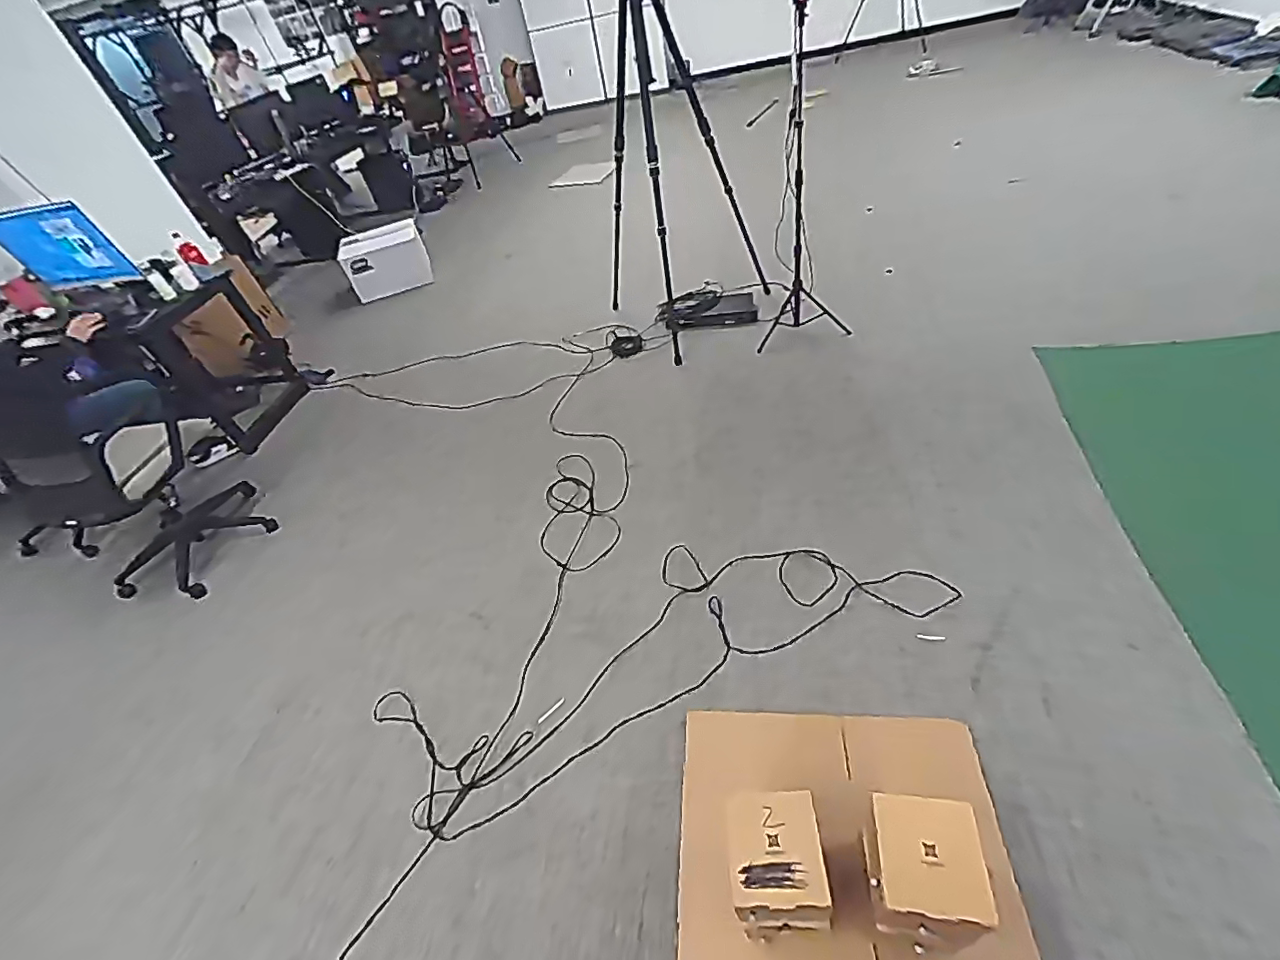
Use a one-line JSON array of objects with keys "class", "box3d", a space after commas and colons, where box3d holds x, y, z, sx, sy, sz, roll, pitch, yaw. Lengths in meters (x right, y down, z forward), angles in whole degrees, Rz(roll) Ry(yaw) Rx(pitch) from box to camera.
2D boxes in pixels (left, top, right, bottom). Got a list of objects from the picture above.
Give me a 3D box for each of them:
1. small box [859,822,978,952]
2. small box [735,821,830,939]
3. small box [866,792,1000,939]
[{"class": "small box", "box3d": [0.537, 0.804, 1.072, 0.168, 0.176, 0.179, -5, 45, 14]}, {"class": "small box", "box3d": [0.291, 0.826, 1.116, 0.168, 0.176, 0.179, -7, 44, 9]}, {"class": "small box", "box3d": [0.507, 0.686, 0.965, 0.168, 0.176, 0.179, -2, 46, 15]}]
